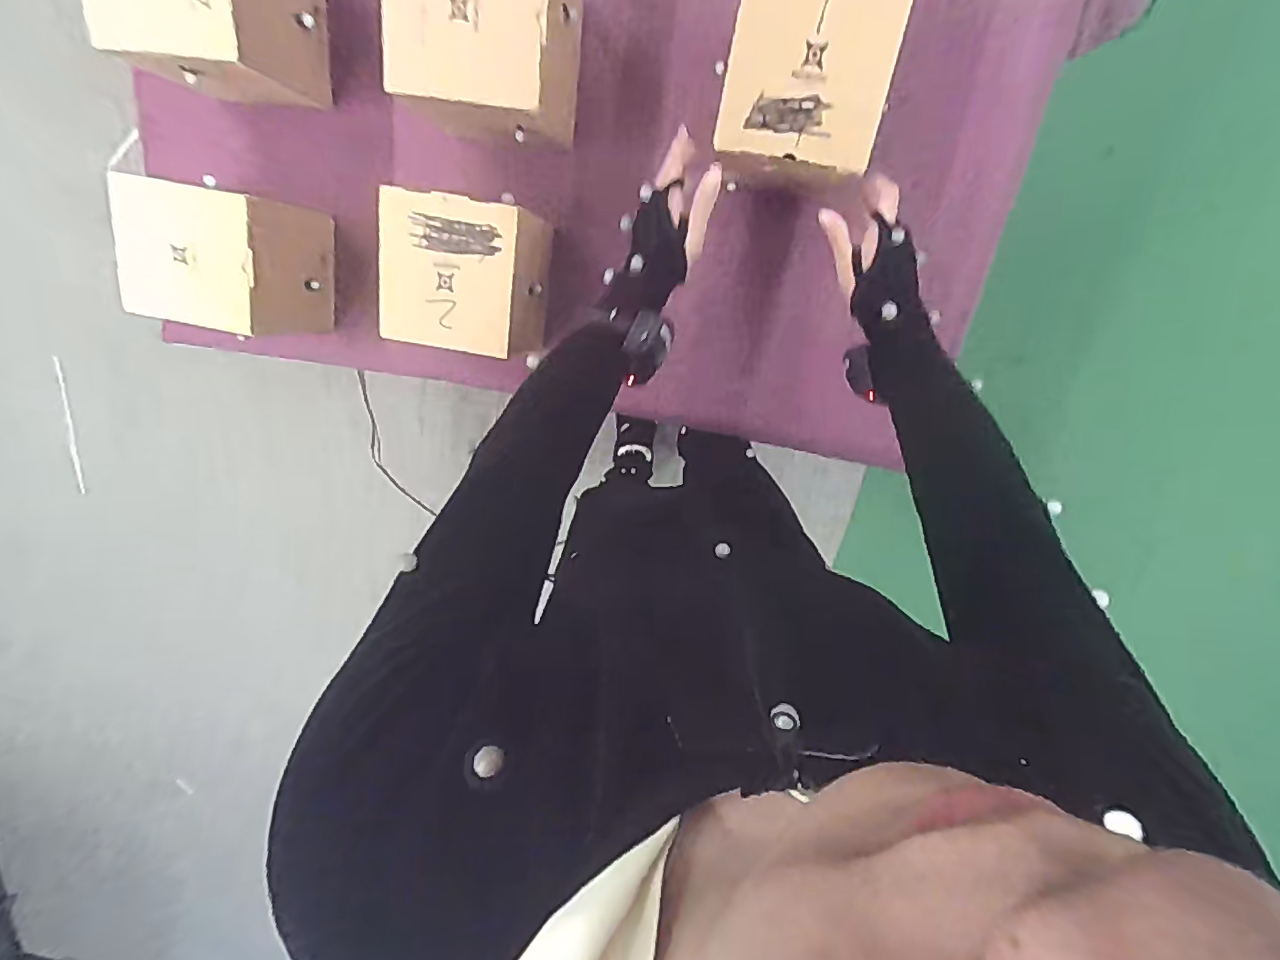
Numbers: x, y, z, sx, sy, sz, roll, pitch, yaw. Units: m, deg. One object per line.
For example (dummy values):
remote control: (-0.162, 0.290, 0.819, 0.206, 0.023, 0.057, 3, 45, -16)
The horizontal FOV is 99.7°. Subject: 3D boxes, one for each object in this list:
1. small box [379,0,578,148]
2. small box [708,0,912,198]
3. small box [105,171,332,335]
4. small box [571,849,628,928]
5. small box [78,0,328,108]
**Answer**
small box: (-0.176, -0.506, 0.628, 0.179, 0.176, 0.168, 10, 109, 3)
small box: (0.176, -0.436, 0.612, 0.168, 0.176, 0.179, 11, 109, 2)
small box: (-0.557, -0.297, 0.736, 0.179, 0.176, 0.168, 11, 108, 2)
small box: (-0.151, 1.572, 2.087, 0.179, 0.176, 0.168, 14, 109, 0)
small box: (-0.508, -0.566, 0.641, 0.179, 0.176, 0.168, 8, 110, 3)
